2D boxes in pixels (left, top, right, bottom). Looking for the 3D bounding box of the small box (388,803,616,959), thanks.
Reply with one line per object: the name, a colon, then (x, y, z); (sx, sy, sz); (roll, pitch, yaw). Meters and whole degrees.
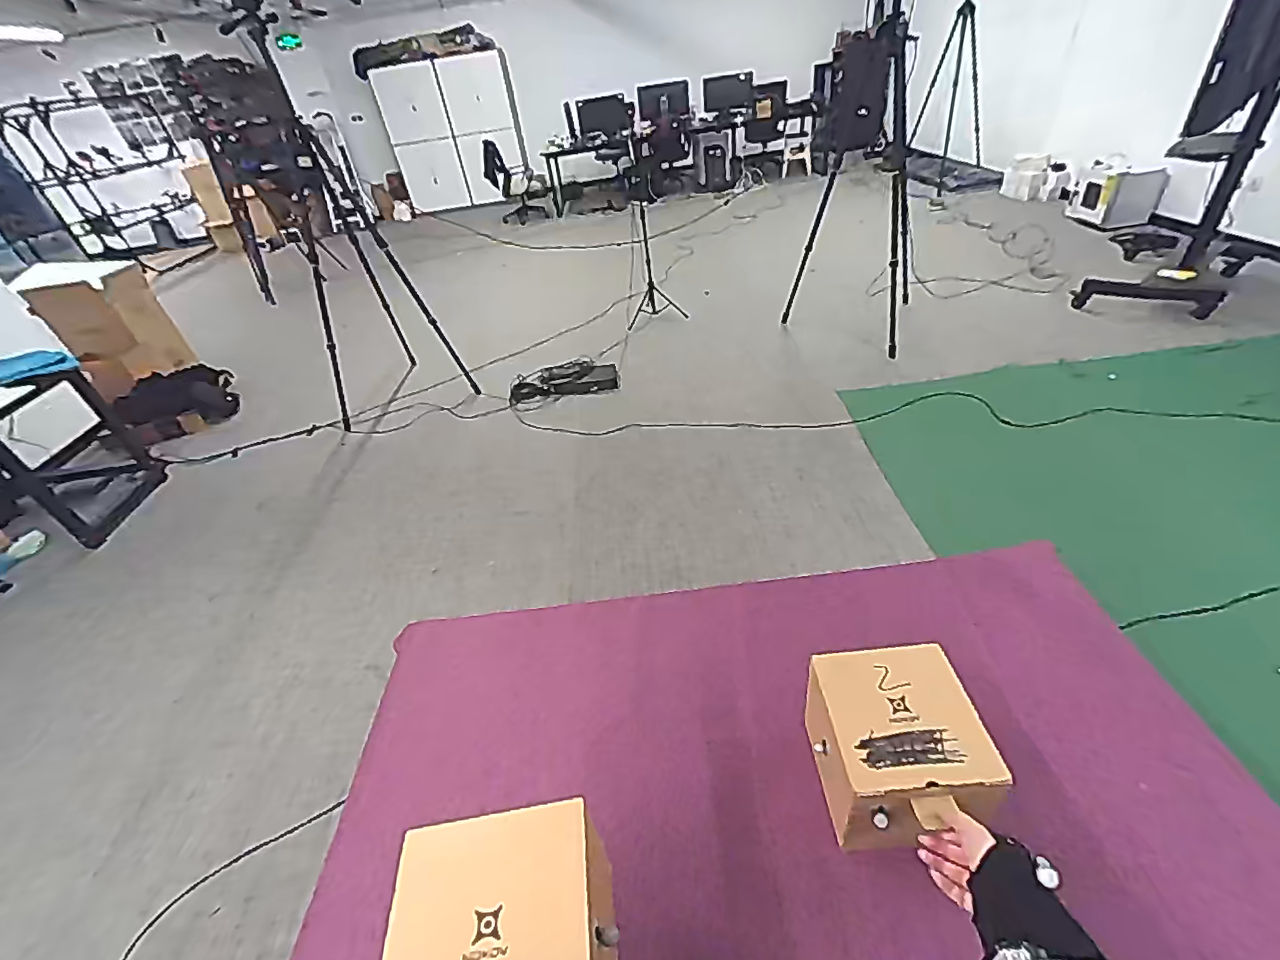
small box: (-0.114, 0.432, 0.489); (0.168, 0.176, 0.179); (-10, 38, -2)
